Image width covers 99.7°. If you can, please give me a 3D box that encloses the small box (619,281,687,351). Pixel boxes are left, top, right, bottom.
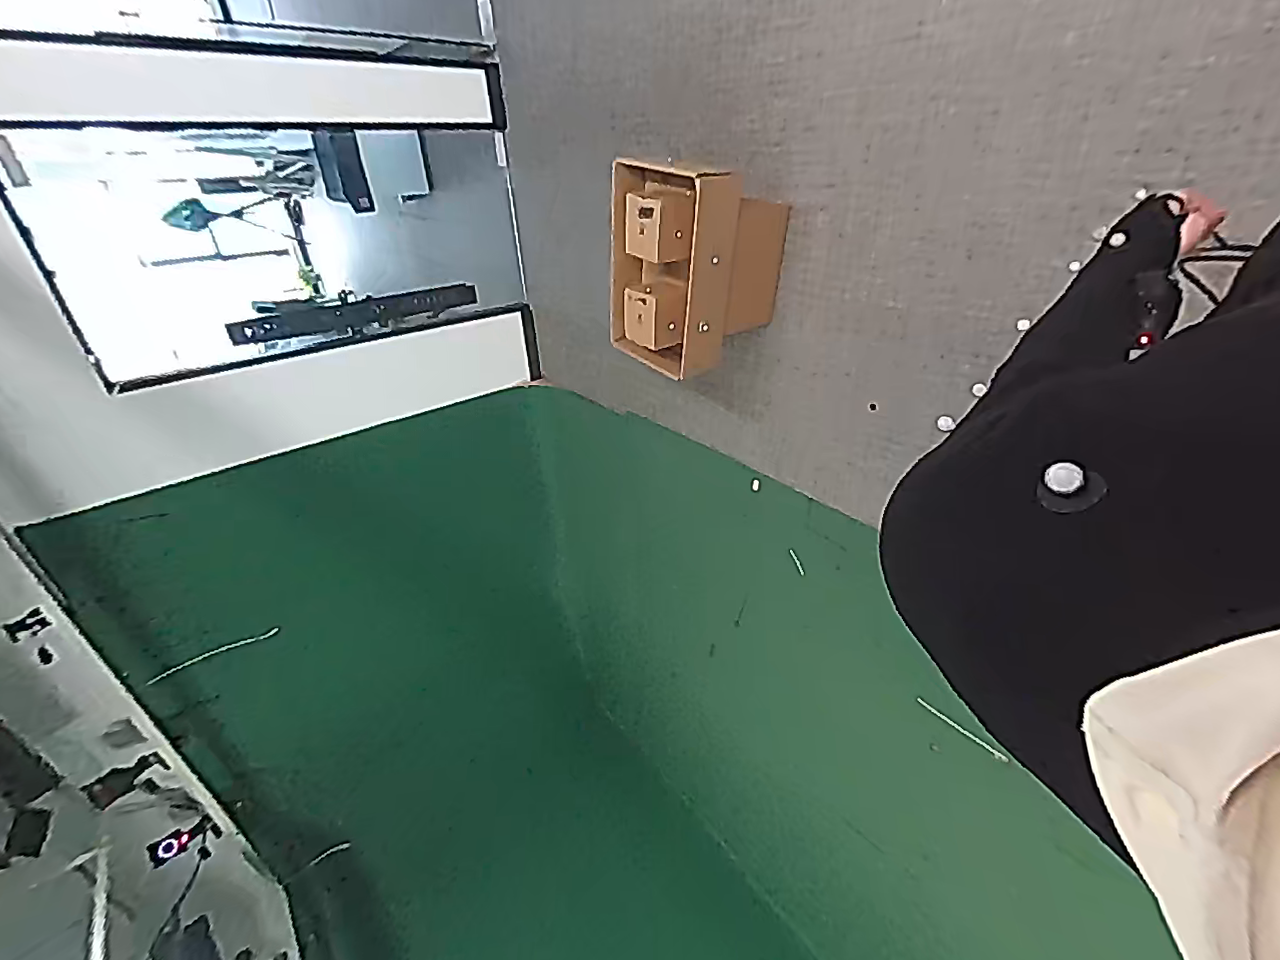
[{"bbox_3d":[0.045,-0.565,1.849,0.168,0.176,0.179,35,137,39],"label":"small box"}]
